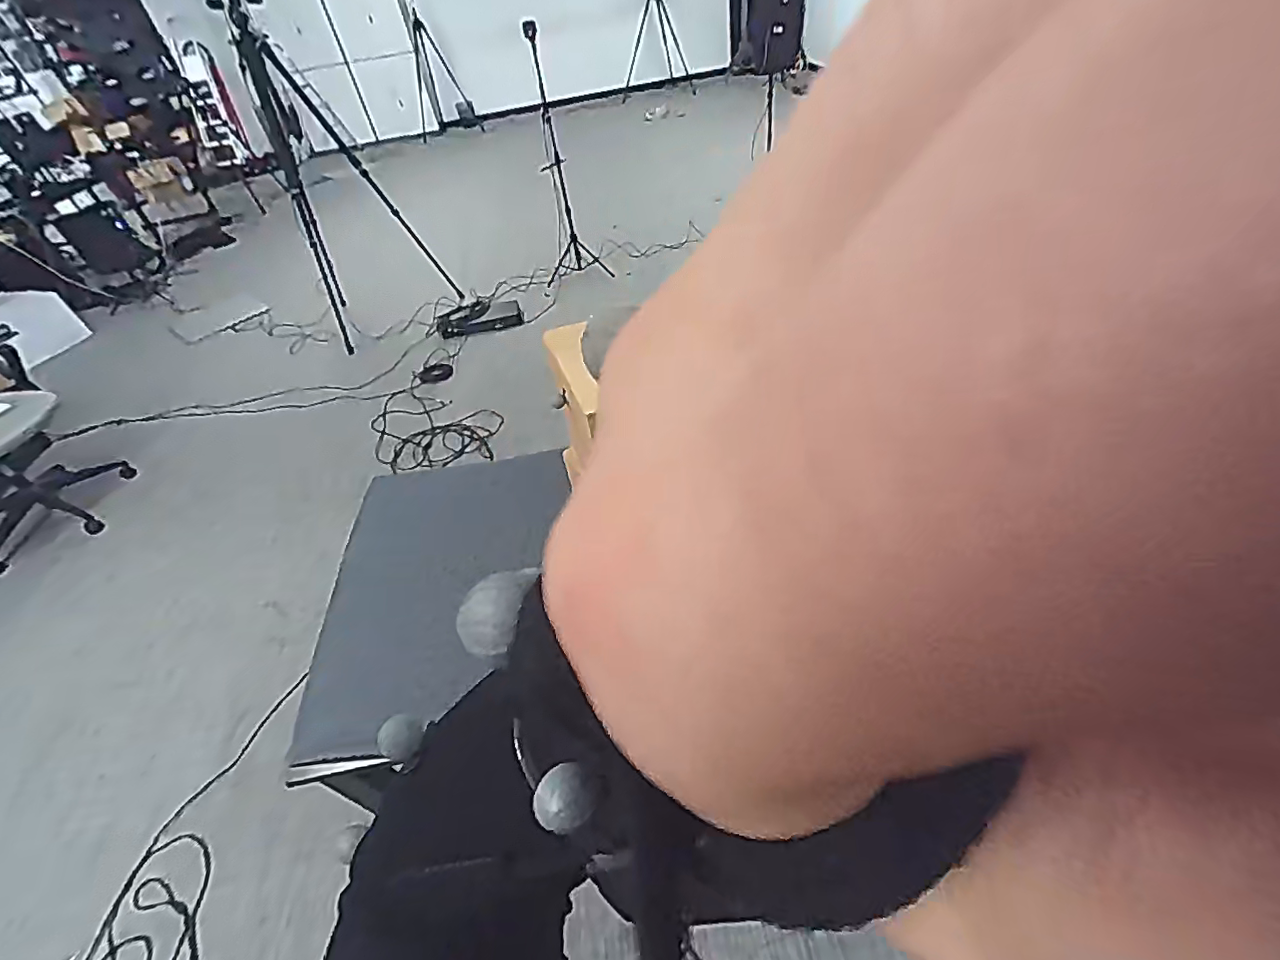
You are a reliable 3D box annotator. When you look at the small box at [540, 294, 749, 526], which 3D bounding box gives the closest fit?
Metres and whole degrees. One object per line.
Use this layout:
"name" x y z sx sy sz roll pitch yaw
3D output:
"small box" 0.008 -0.071 0.590 0.168 0.176 0.179 -20 44 -10
